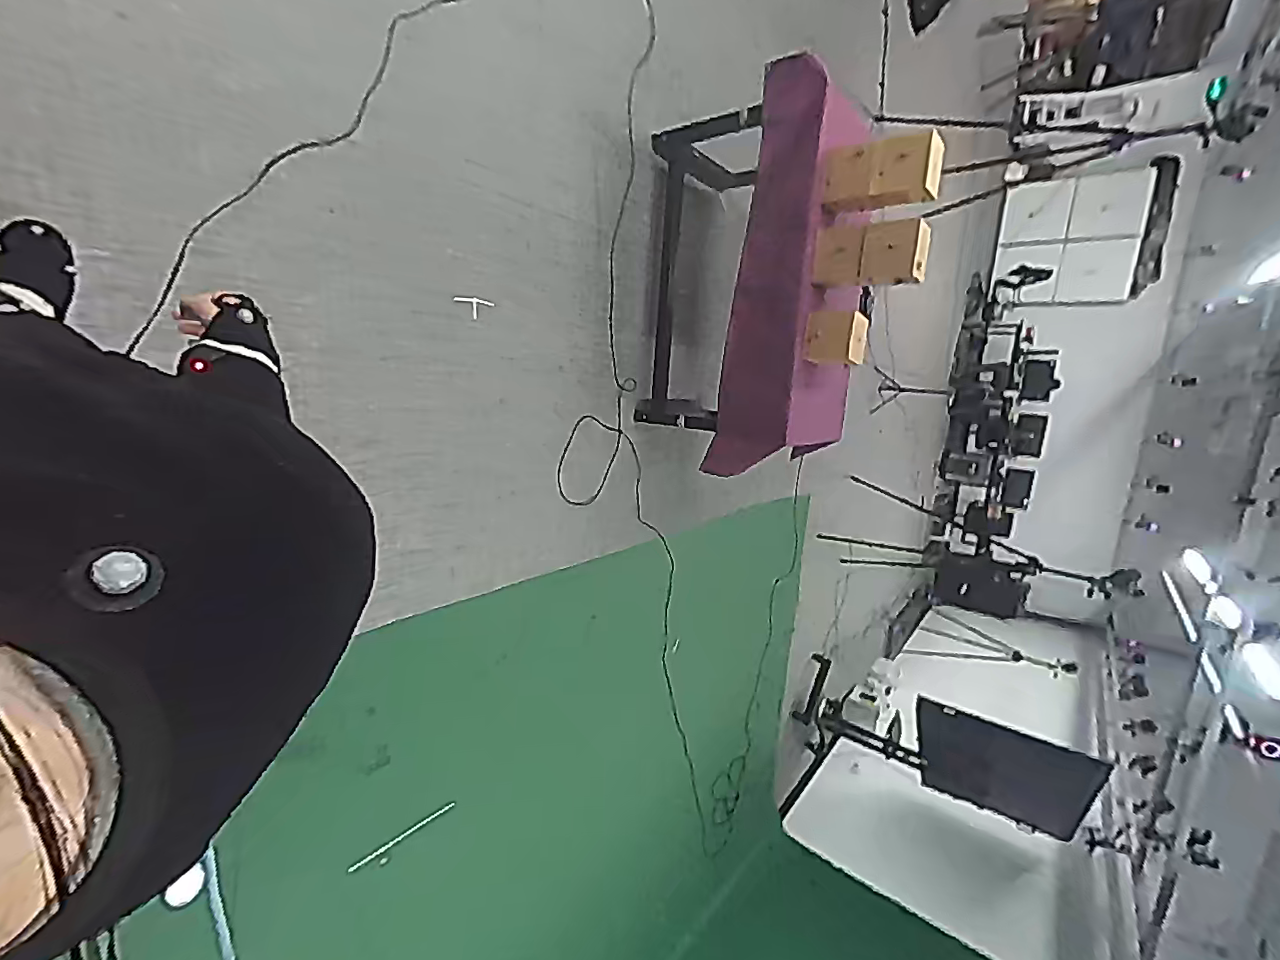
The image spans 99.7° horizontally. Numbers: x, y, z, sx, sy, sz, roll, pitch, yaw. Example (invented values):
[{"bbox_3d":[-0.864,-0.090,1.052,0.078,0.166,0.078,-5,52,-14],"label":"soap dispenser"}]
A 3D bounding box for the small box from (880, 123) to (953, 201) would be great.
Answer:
[{"bbox_3d":[0.885,-1.010,1.735,0.179,0.176,0.168,-16,113,-50],"label":"small box"}]

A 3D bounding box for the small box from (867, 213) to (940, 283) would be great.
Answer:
[{"bbox_3d":[0.862,-0.754,1.776,0.168,0.176,0.179,-9,107,-51],"label":"small box"}]

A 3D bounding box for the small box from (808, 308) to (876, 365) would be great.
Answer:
[{"bbox_3d":[0.722,-0.513,1.934,0.179,0.176,0.168,-2,101,-52],"label":"small box"}]

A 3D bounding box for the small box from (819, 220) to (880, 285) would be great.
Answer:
[{"bbox_3d":[0.738,-0.784,1.880,0.168,0.176,0.179,-11,109,-50],"label":"small box"}]
